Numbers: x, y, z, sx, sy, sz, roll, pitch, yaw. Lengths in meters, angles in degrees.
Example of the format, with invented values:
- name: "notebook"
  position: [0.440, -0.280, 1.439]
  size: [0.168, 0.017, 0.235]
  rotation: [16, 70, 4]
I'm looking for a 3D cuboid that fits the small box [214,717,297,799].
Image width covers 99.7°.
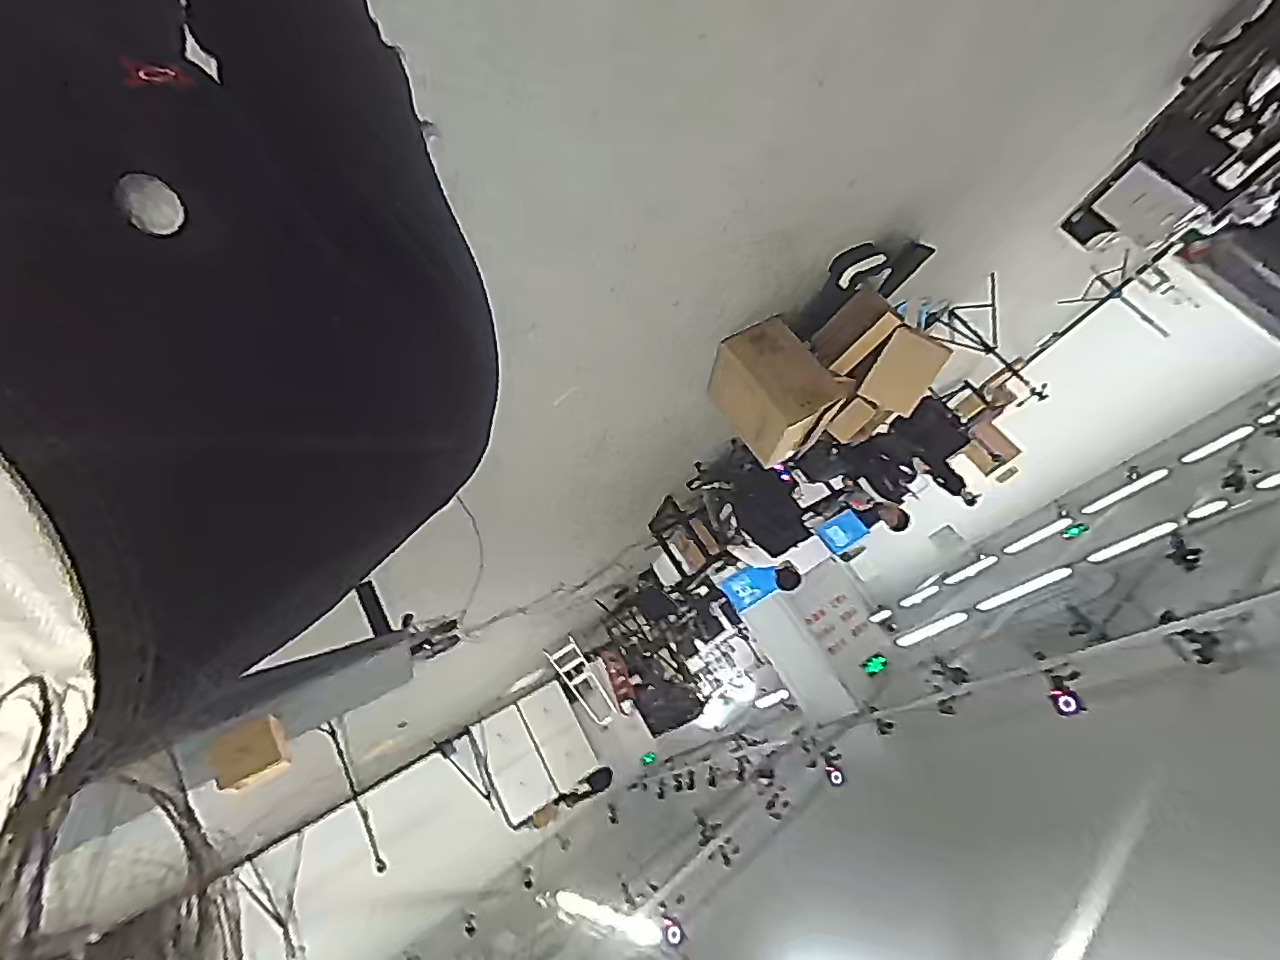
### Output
- name: "small box"
  position: [-1.271, 0.916, 1.783]
  size: [0.179, 0.176, 0.168]
  rotation: [-22, 157, -28]
